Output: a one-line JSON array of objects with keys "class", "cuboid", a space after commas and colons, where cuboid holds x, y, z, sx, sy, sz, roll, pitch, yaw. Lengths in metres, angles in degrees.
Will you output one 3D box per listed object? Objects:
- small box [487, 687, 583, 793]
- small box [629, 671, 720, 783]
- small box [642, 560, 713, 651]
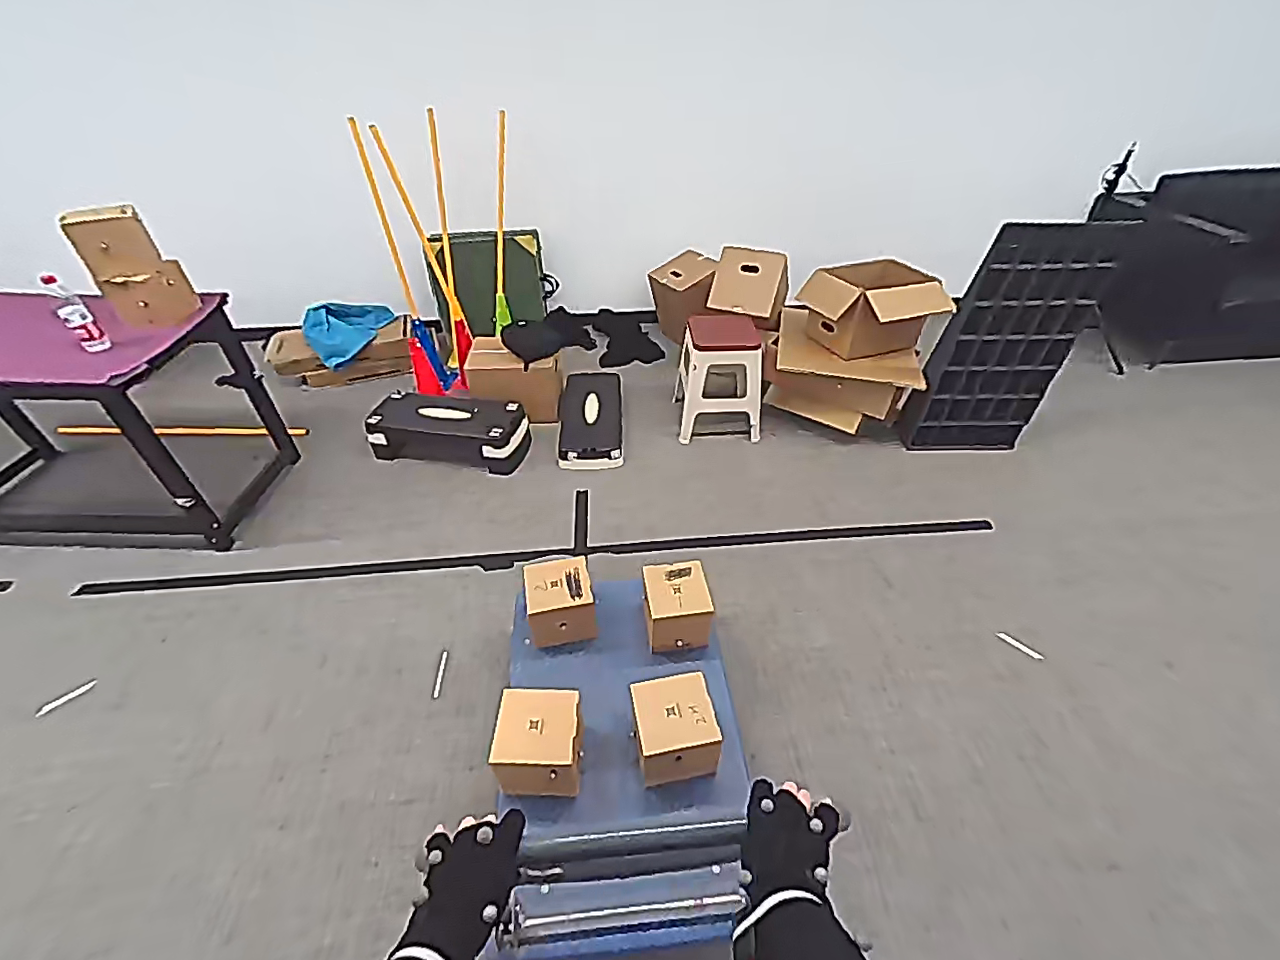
[{"class": "small box", "cuboid": [-0.228, 0.590, 1.224, 0.179, 0.176, 0.168, 2, 41, 0]}, {"class": "small box", "cuboid": [0.075, 0.571, 1.245, 0.179, 0.176, 0.168, -7, 42, -8]}, {"class": "small box", "cuboid": [0.098, 0.348, 1.500, 0.168, 0.176, 0.179, -5, 42, -6]}]
